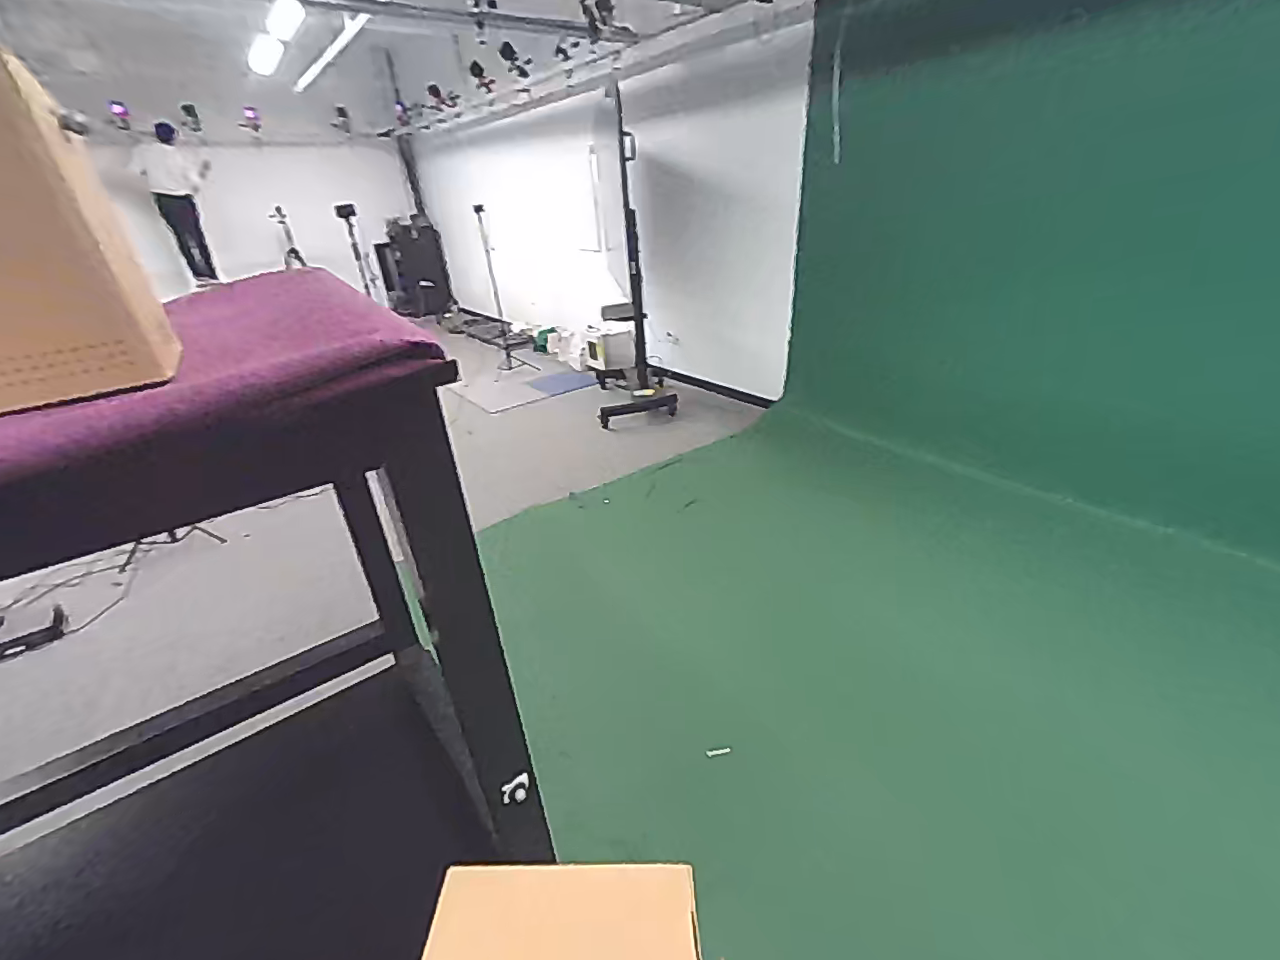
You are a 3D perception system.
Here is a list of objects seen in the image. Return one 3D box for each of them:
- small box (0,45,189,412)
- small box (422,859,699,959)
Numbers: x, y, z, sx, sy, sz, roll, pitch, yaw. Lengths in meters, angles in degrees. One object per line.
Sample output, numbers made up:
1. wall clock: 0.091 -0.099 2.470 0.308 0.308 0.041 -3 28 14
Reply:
1. small box: -0.408 -0.128 0.312 0.179 0.176 0.168 -24 31 -30
2. small box: -0.049 0.382 0.348 0.179 0.176 0.168 0 24 -1
